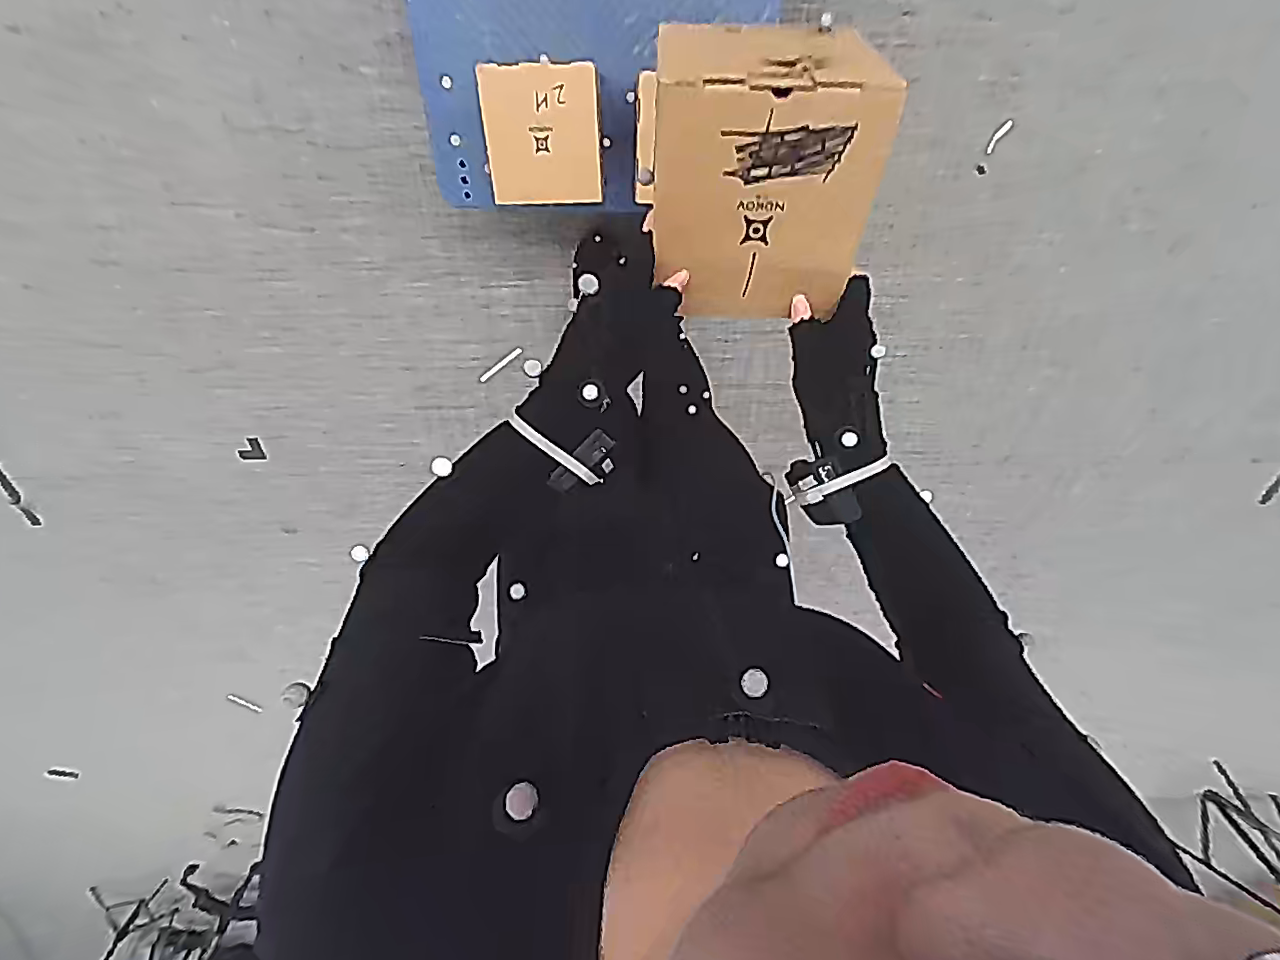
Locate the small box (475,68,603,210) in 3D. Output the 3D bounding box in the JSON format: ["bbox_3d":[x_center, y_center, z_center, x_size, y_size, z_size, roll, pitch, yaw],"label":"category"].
[{"bbox_3d":[-0.146,-0.537,0.855,0.168,0.176,0.179,-1,124,-1],"label":"small box"}]

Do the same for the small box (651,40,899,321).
[{"bbox_3d":[0.095,-0.264,0.479,0.168,0.176,0.179,2,140,1],"label":"small box"}]
